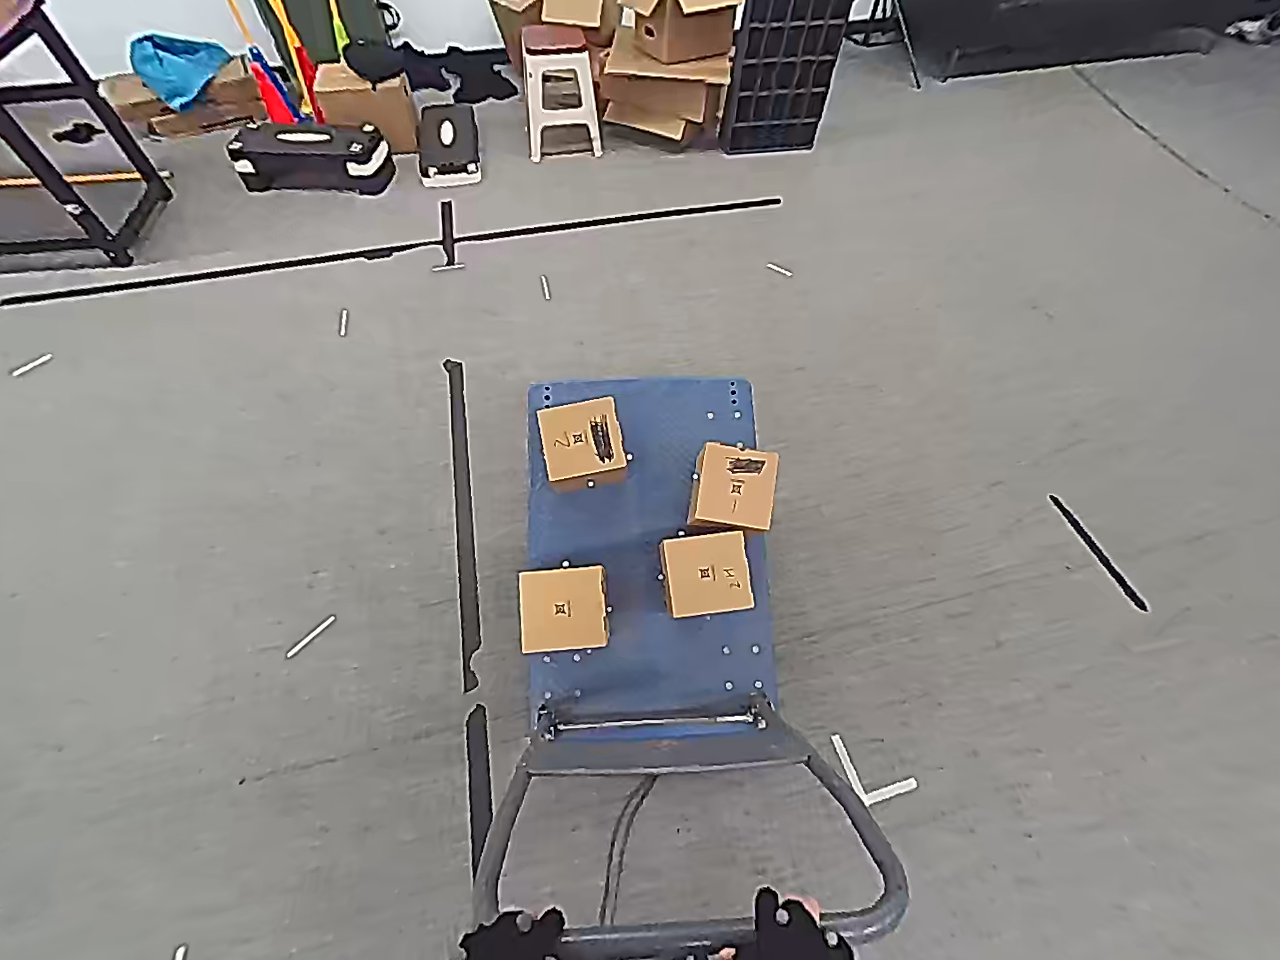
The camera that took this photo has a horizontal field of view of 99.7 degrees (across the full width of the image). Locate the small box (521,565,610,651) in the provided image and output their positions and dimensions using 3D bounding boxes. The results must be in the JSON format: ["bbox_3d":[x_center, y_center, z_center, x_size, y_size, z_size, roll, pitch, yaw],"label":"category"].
[{"bbox_3d":[-0.160,0.282,1.200,0.179,0.176,0.168,-4,79,-3],"label":"small box"}]

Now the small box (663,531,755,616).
[{"bbox_3d":[0.146,0.213,1.219,0.179,0.176,0.168,-6,80,-2],"label":"small box"}]

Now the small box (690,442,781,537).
[{"bbox_3d":[0.215,0.028,1.256,0.168,0.176,0.179,10,80,1],"label":"small box"}]
